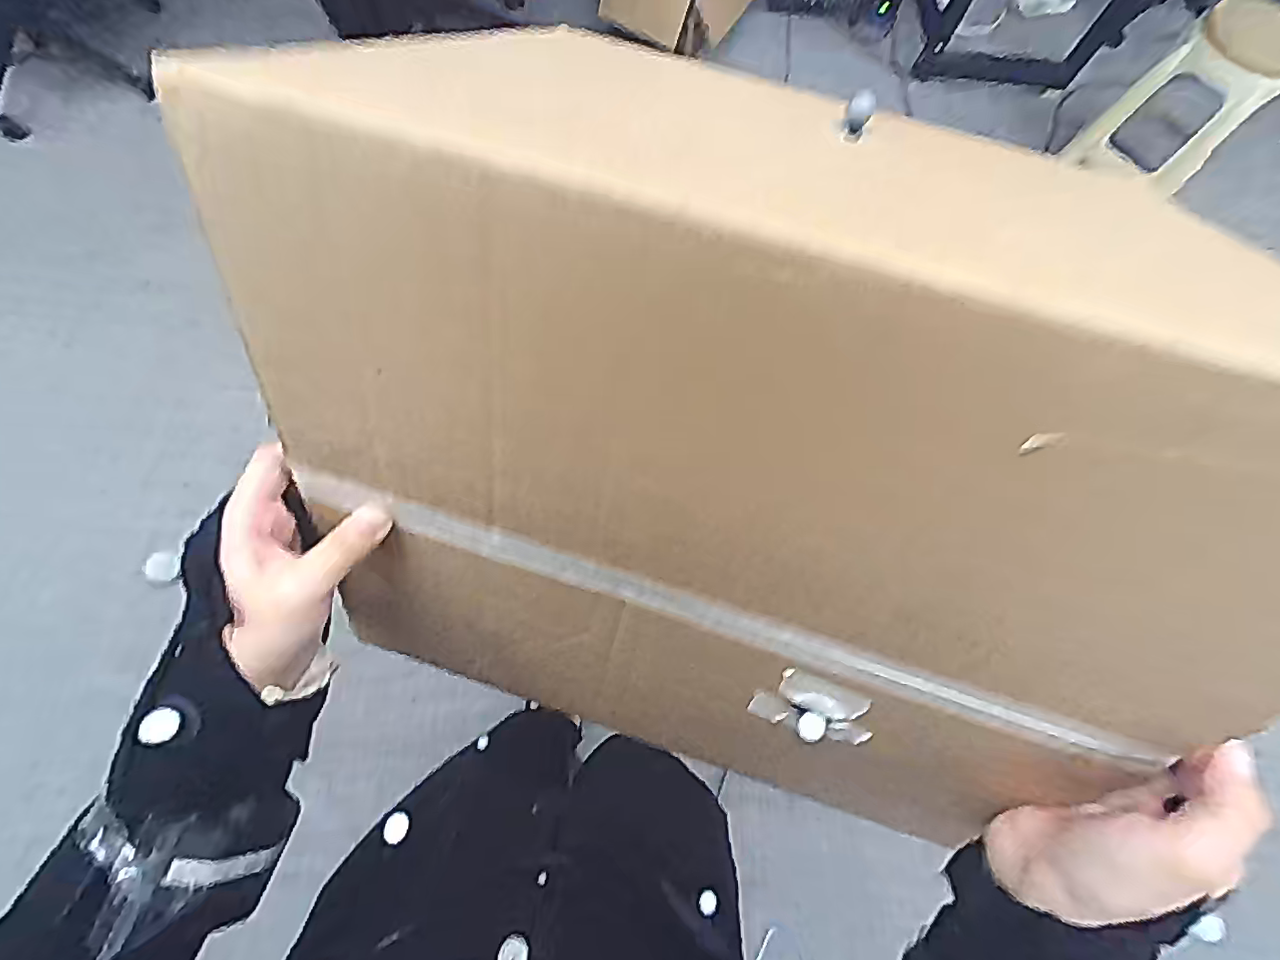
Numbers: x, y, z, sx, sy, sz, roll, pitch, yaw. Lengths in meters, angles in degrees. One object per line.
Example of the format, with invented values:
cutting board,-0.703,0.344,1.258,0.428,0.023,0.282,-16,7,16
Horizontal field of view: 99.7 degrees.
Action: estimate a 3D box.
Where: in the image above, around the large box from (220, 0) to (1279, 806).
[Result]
large box,0.081,-0.065,0.344,0.408,0.320,0.320,17,44,4
